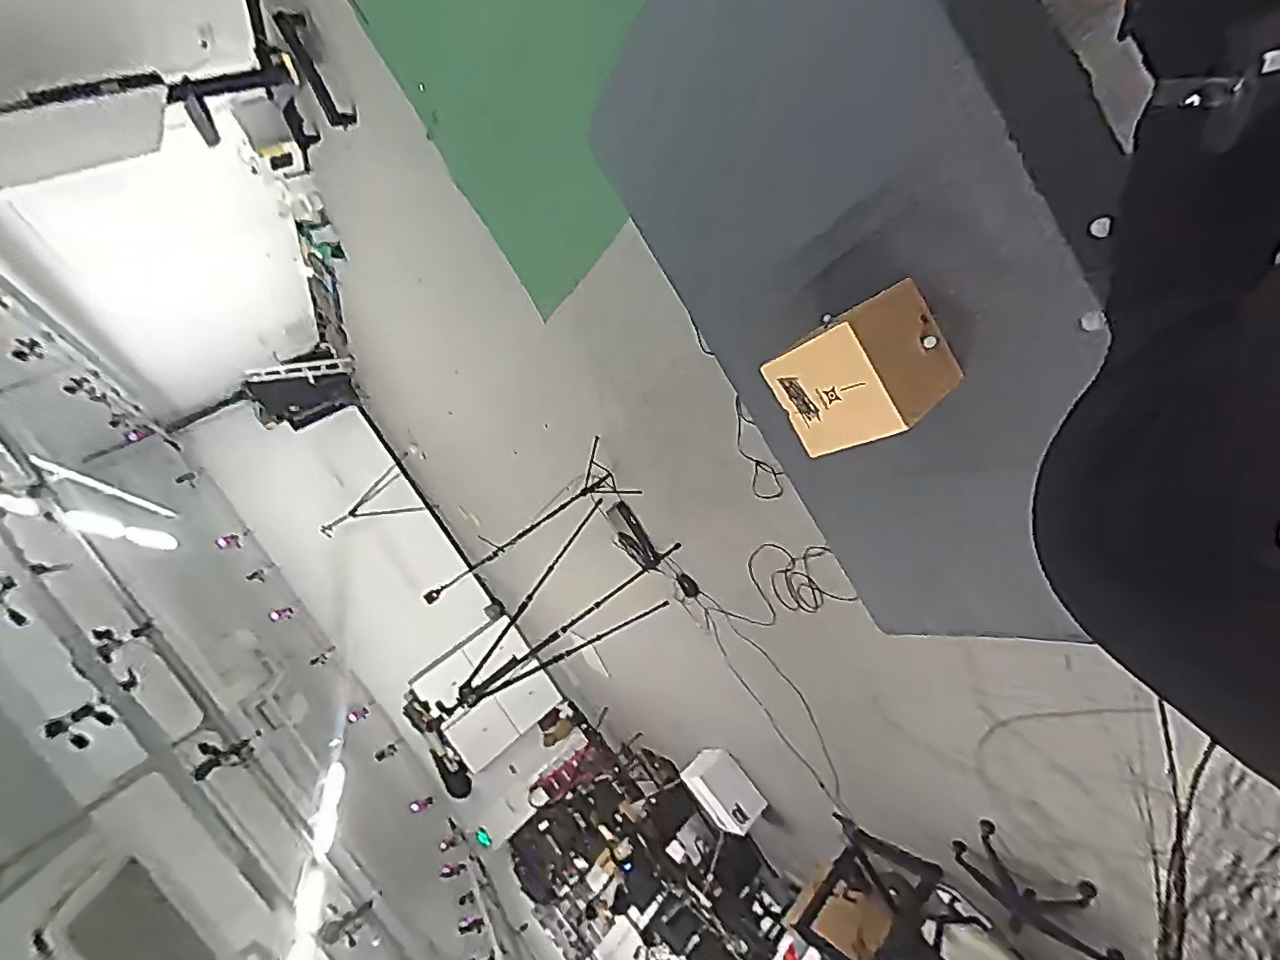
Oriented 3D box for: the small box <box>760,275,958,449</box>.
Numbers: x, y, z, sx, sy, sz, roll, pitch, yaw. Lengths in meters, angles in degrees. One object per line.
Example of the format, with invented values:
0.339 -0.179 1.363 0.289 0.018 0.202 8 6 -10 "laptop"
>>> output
0.321 -0.170 0.799 0.168 0.176 0.179 58 152 -6 "small box"
